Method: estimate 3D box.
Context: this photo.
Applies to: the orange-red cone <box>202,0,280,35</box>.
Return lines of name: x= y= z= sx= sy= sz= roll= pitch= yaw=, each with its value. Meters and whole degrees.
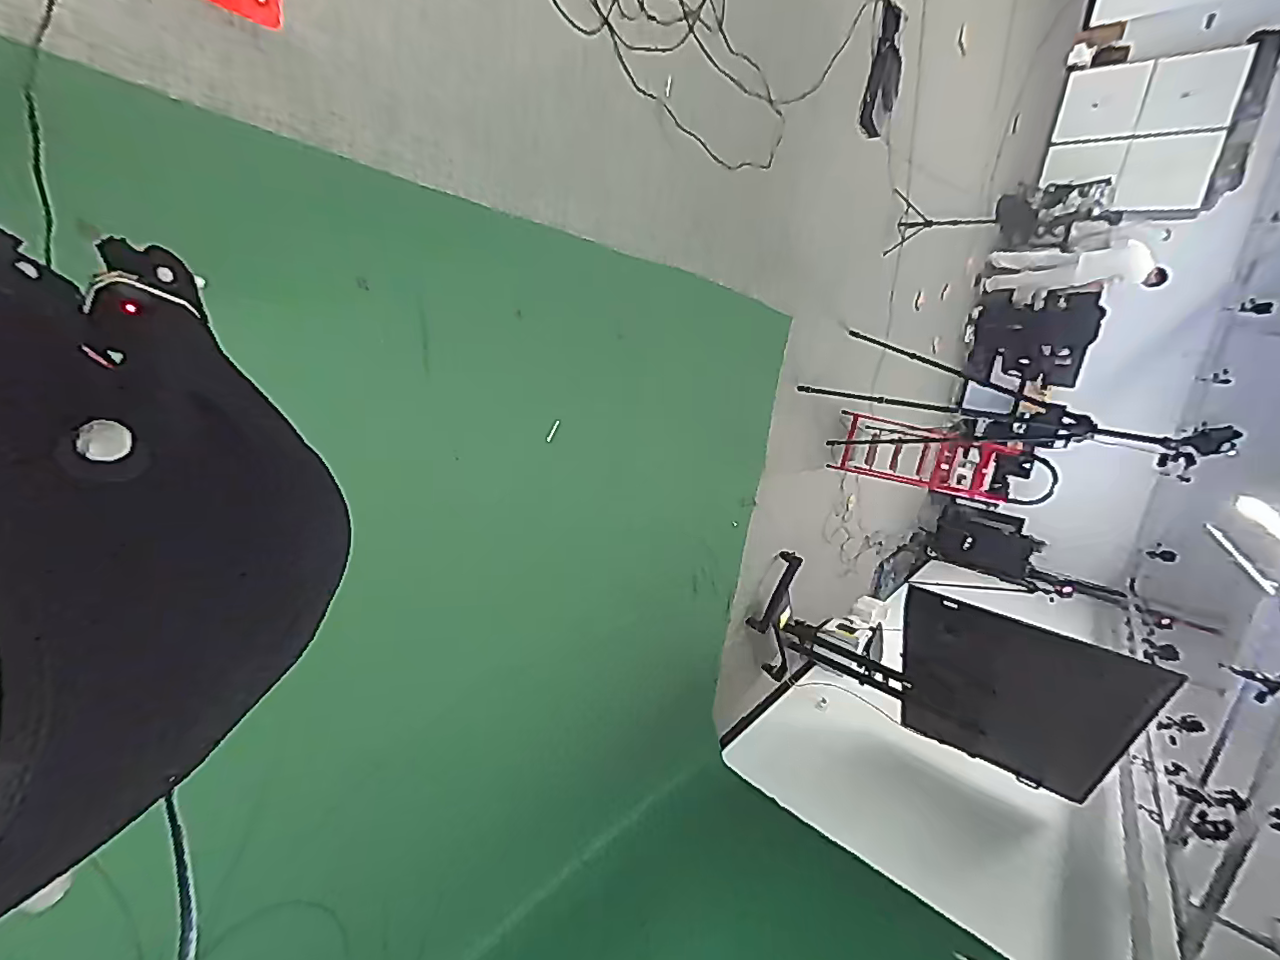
orange-red cone: x=-0.678 y=-0.974 z=0.943 sx=0.198 sy=0.360 sz=0.199 roll=-8 pitch=110 yaw=-51
